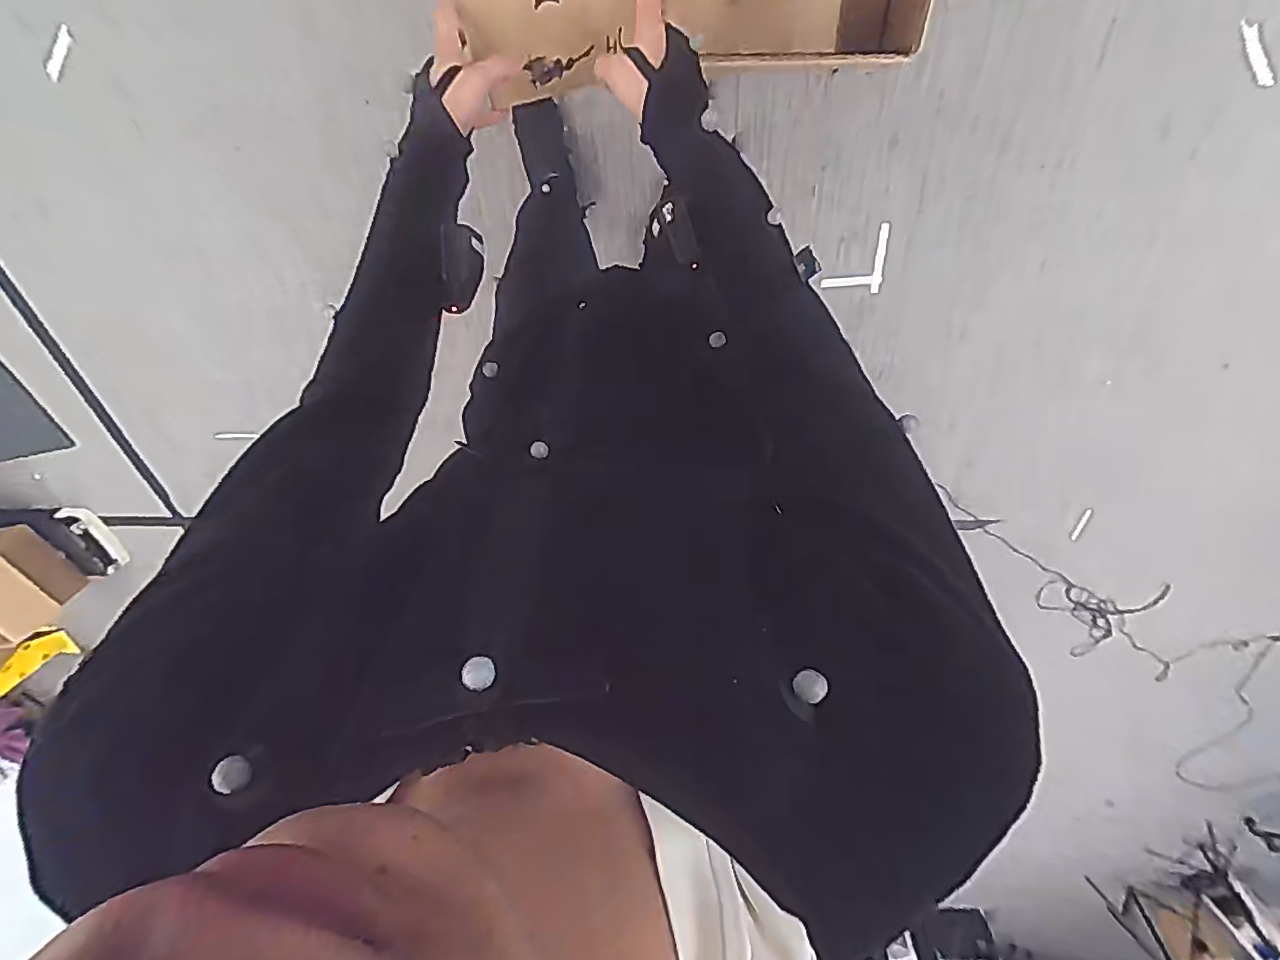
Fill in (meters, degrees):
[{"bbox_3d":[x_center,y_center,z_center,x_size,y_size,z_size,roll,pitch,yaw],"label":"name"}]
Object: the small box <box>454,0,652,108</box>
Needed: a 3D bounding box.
[{"bbox_3d":[-0.086,-0.496,0.509,0.168,0.176,0.179,-8,144,9],"label":"small box"}]
